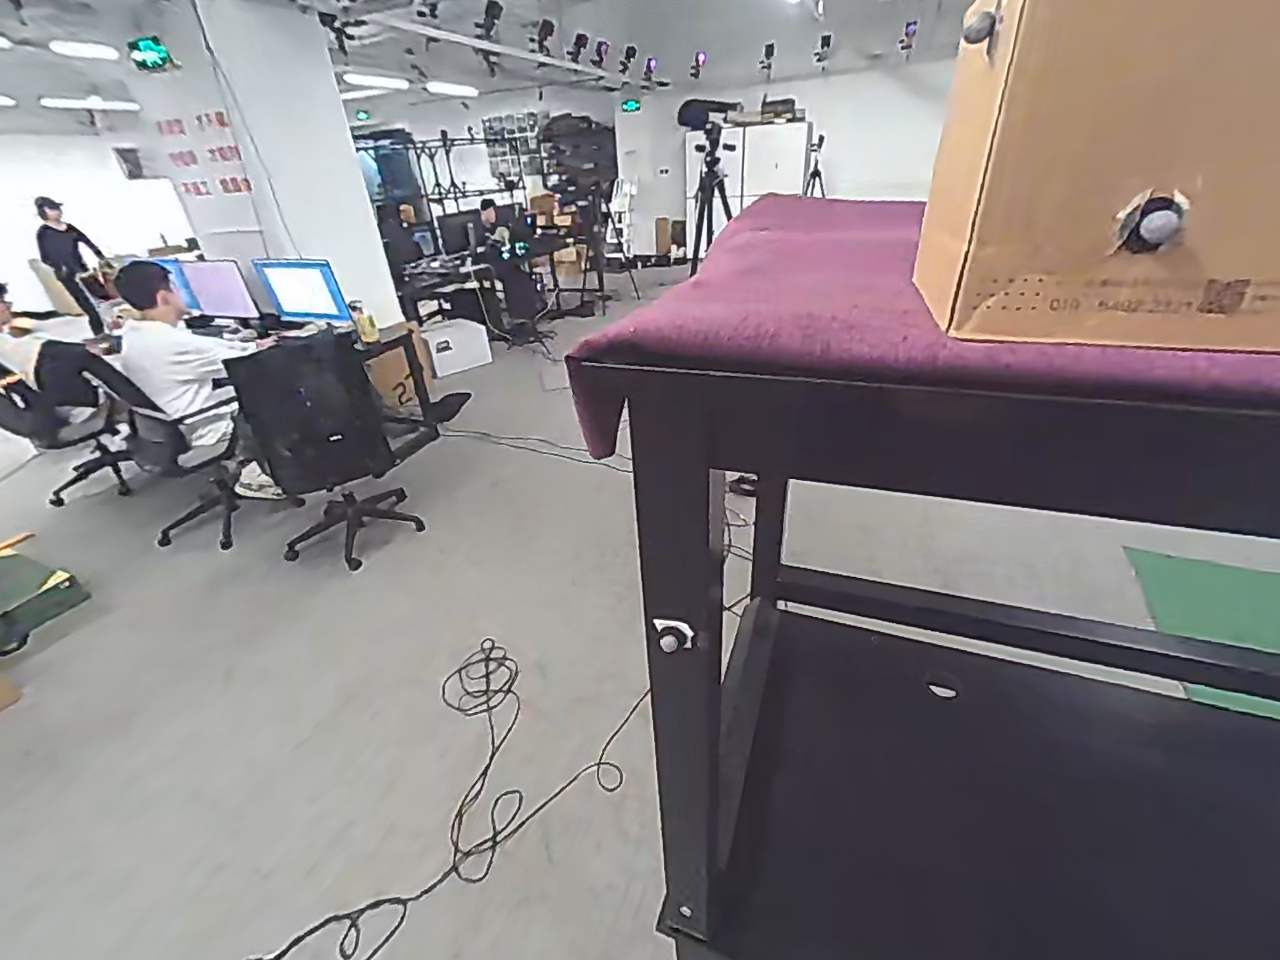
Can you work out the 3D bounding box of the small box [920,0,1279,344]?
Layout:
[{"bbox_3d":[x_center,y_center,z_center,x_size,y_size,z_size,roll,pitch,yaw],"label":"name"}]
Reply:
[{"bbox_3d":[0.258,-0.180,0.283,0.168,0.176,0.179,7,31,17],"label":"small box"}]
